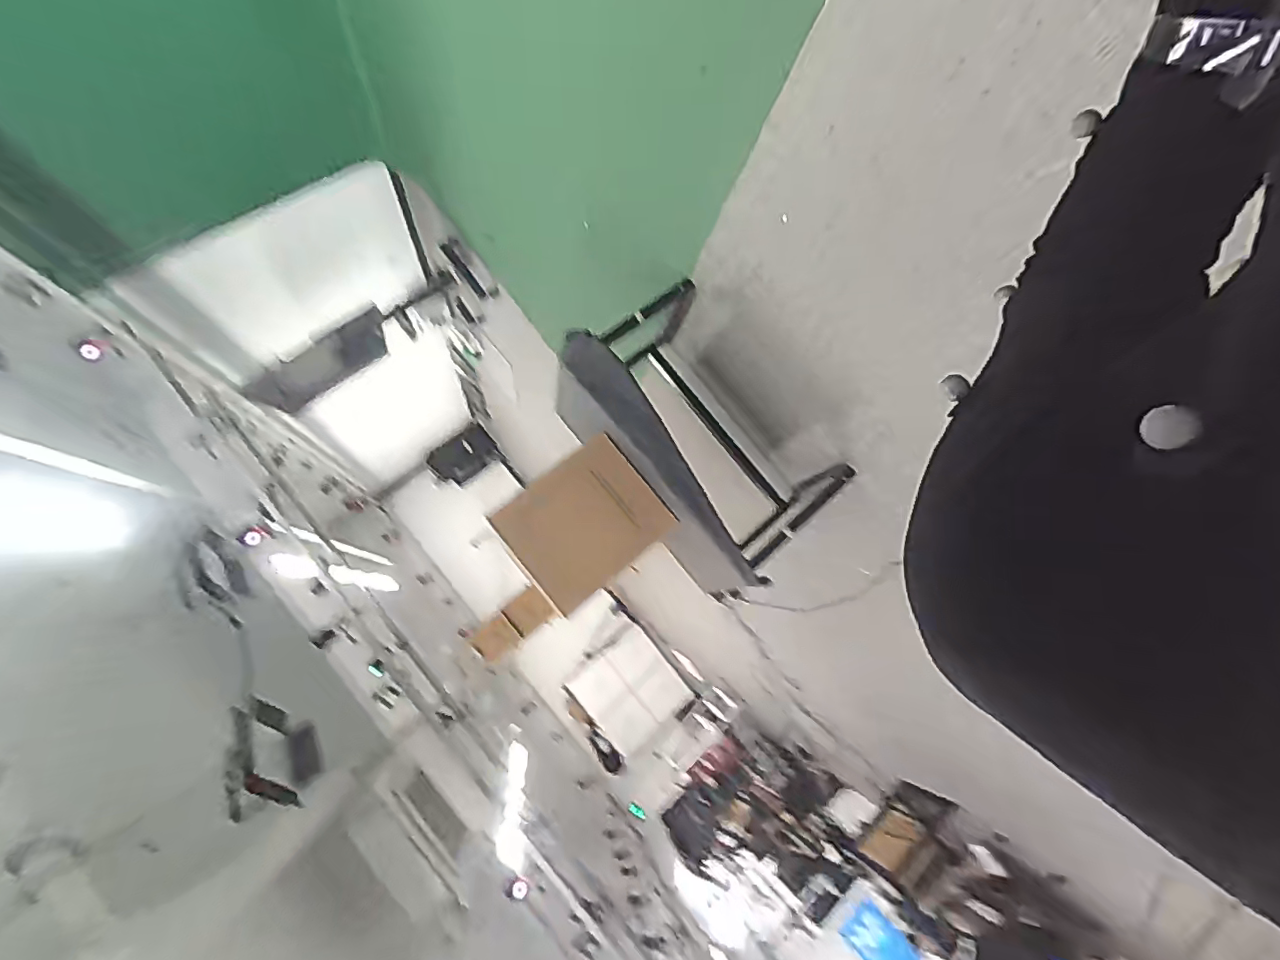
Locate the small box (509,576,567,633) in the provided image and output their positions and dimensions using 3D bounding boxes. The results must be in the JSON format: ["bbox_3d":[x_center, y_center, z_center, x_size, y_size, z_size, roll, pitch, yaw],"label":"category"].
[{"bbox_3d":[-0.428,0.518,2.271,0.179,0.176,0.168,48,162,7],"label":"small box"}]

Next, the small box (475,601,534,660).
[{"bbox_3d":[-0.547,0.614,2.213,0.168,0.176,0.179,49,162,7],"label":"small box"}]
